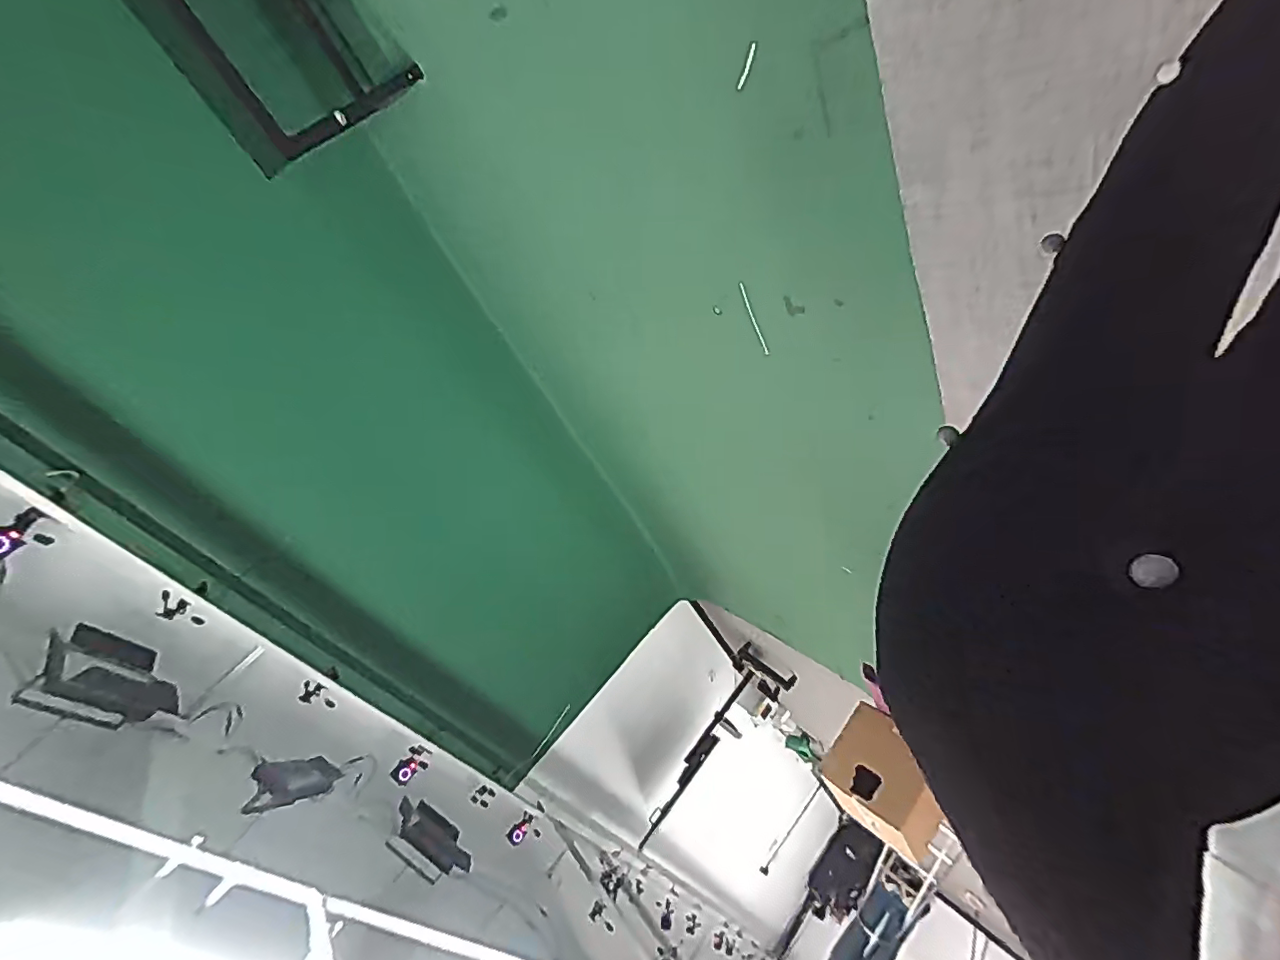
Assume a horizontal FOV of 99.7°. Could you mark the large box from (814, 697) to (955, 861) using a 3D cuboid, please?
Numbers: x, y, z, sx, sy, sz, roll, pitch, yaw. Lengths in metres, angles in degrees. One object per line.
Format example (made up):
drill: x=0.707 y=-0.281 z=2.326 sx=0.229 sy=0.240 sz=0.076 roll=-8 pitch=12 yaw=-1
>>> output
large box: x=0.899 y=1.078 z=1.965 sx=0.320 sy=0.320 sz=0.408 roll=19 pitch=149 yaw=49
